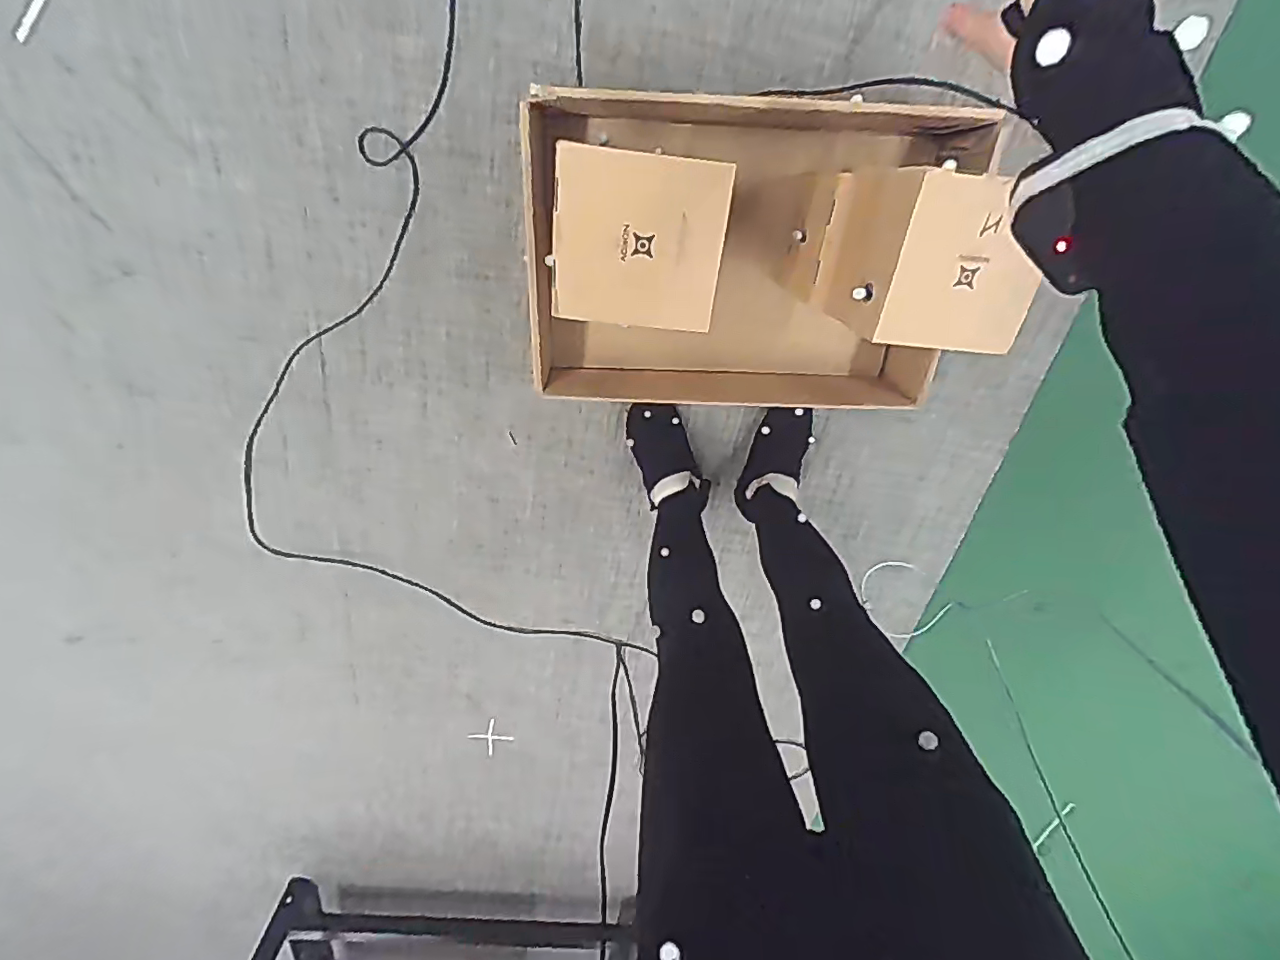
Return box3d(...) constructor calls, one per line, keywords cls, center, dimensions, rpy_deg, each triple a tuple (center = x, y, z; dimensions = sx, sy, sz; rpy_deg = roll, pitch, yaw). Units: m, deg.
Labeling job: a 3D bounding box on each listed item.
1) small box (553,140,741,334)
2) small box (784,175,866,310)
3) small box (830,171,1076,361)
box3d(cls="small box", center=(-0.001, -0.279, 0.623), dimensions=(0.179, 0.176, 0.168), rpy_deg=(5, 119, -6))
box3d(cls="small box", center=(0.328, -0.338, 0.790), dimensions=(0.179, 0.176, 0.168), rpy_deg=(5, 118, -4))
box3d(cls="small box", center=(0.348, -0.258, 0.647), dimensions=(0.168, 0.176, 0.179), rpy_deg=(5, 117, -6))
